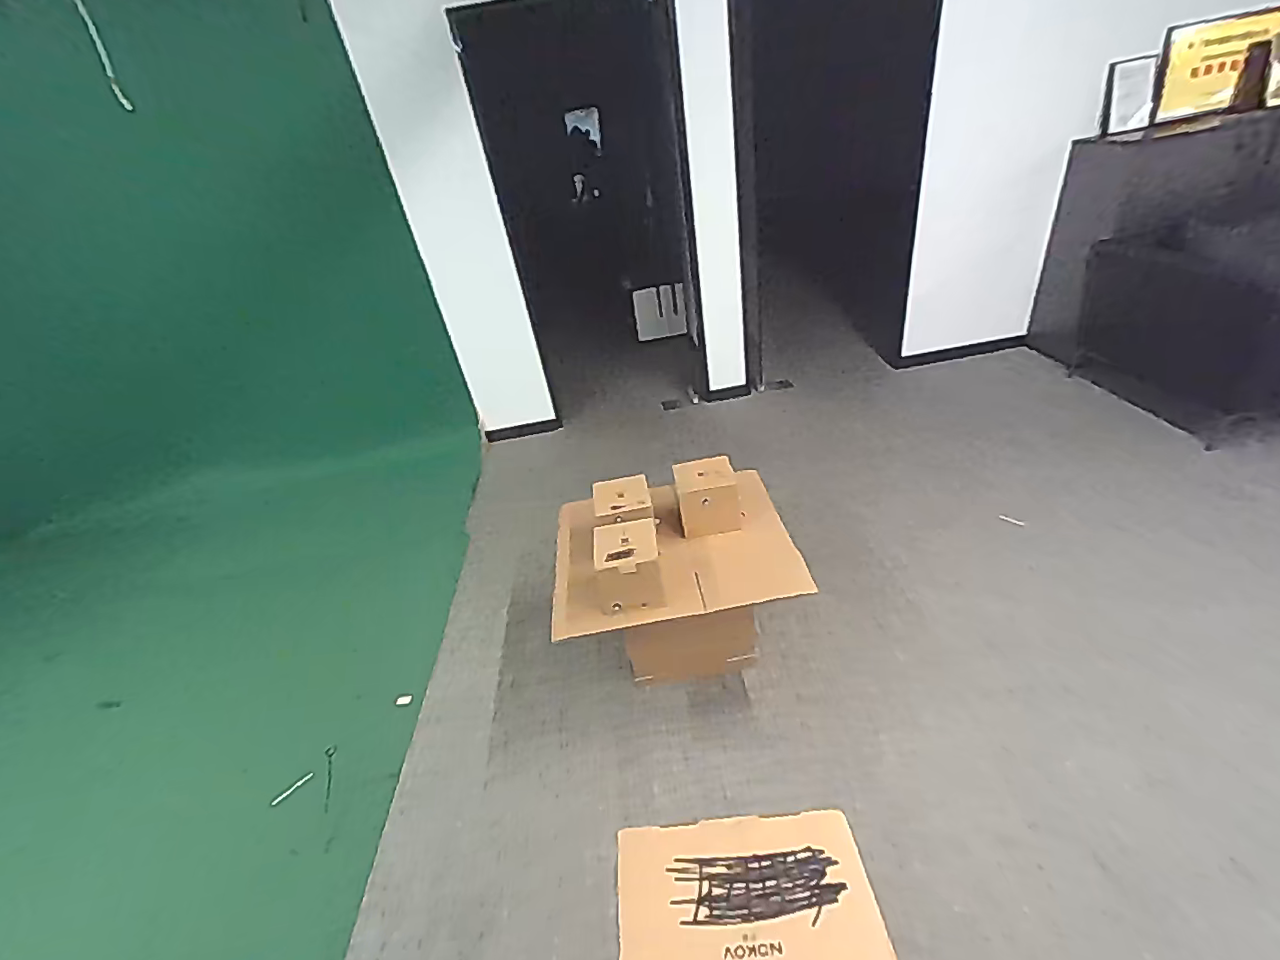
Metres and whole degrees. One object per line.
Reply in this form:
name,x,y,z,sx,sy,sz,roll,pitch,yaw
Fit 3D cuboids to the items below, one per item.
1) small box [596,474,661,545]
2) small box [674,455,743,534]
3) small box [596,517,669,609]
small box,-0.036,0.108,1.635,0.168,0.176,0.179,-12,32,0
small box,0.209,0.048,1.655,0.179,0.176,0.168,-11,33,4
small box,-0.020,0.229,1.448,0.168,0.176,0.179,-10,32,2
